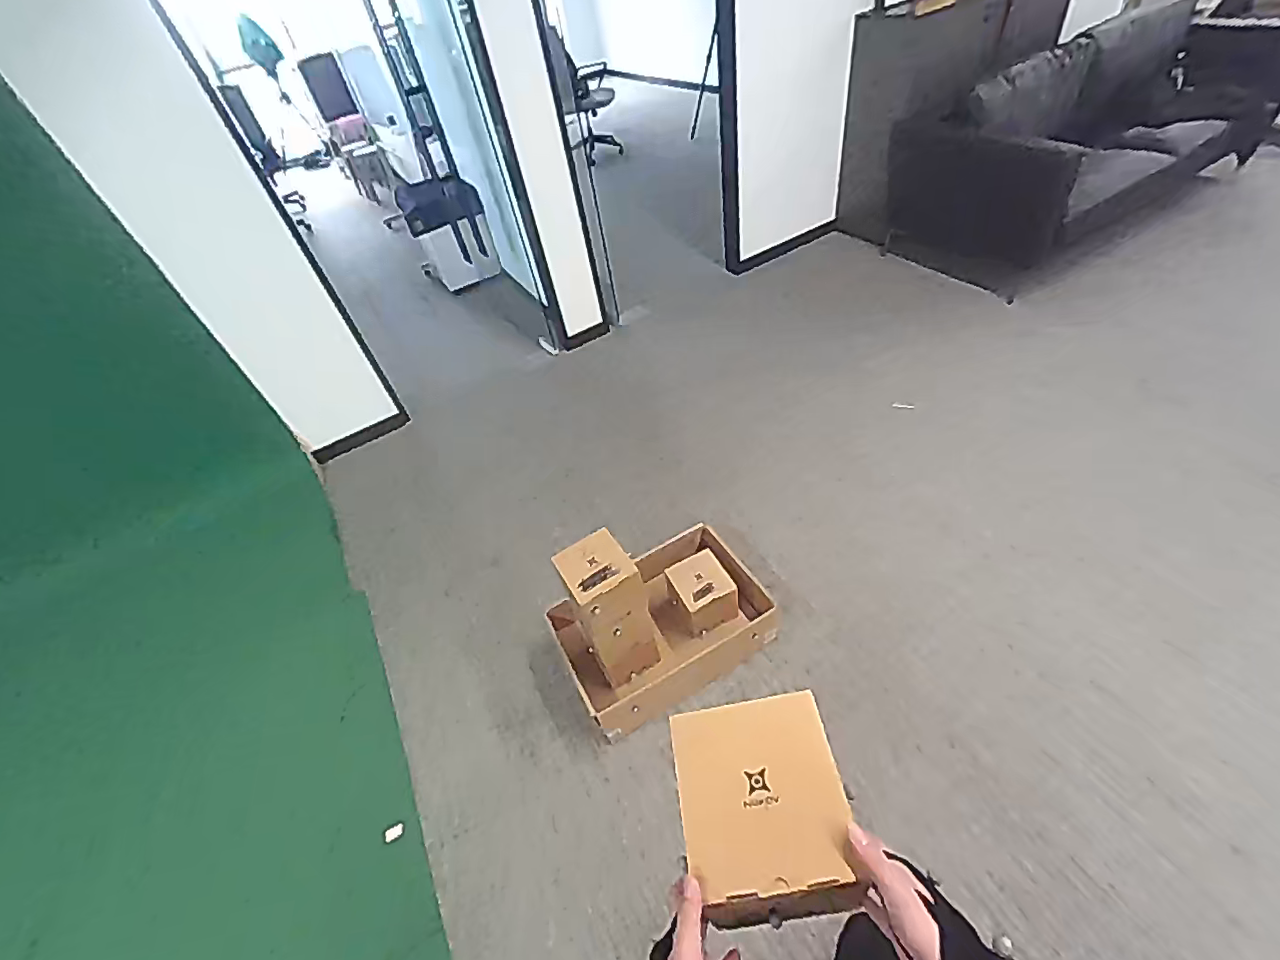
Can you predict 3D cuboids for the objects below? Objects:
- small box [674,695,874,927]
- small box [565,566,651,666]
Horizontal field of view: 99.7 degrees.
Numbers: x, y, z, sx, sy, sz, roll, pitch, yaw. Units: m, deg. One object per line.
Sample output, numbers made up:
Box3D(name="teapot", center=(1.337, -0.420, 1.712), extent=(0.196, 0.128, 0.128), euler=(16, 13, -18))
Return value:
Box3D(name="small box", center=(0.138, 0.370, 0.603), extent=(0.168, 0.176, 0.179), euler=(-12, 45, 4))
Box3D(name="small box", center=(-0.086, 0.384, 1.515), extent=(0.168, 0.176, 0.179), euler=(-29, 48, -15))
